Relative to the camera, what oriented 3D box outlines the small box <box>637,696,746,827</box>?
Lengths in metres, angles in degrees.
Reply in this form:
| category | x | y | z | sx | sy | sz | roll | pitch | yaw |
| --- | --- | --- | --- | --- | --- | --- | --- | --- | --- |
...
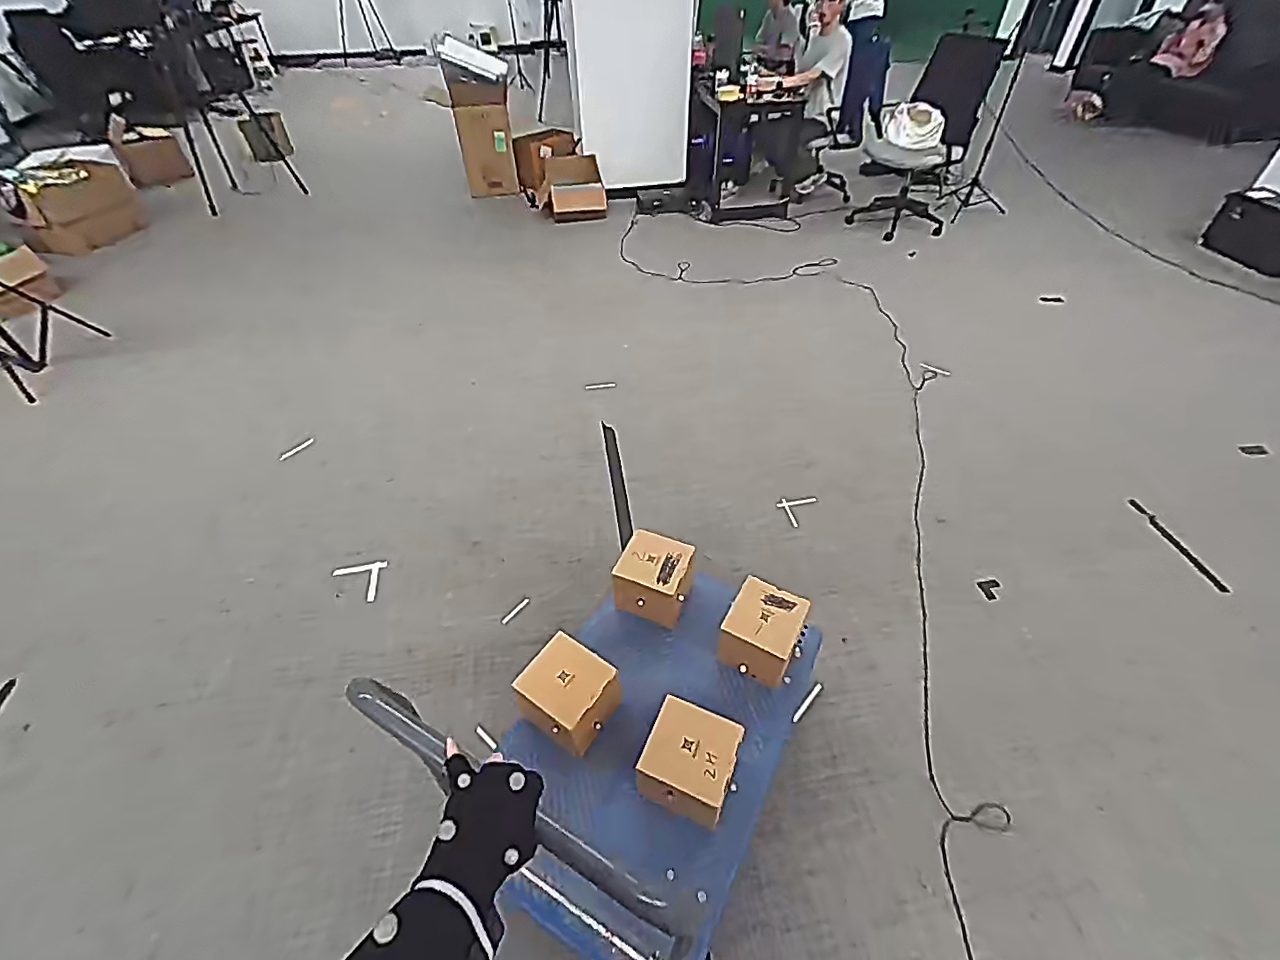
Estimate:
| category | x | y | z | sx | sy | sz | roll | pitch | yaw |
| --- | --- | --- | --- | --- | --- | --- | --- | --- | --- |
| small box | 0.108 | 0.596 | 1.140 | 0.179 | 0.176 | 0.168 | 18 | 48 | 19 |

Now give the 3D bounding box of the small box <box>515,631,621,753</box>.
| category | x | y | z | sx | sy | sz | roll | pitch | yaw |
| --- | --- | --- | --- | --- | --- | --- | --- | --- | --- |
| small box | -0.160 | 0.494 | 1.253 | 0.179 | 0.176 | 0.168 | 27 | 51 | 24 |

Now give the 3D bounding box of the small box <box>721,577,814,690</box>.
| category | x | y | z | sx | sy | sz | roll | pitch | yaw |
| --- | --- | --- | --- | --- | --- | --- | --- | --- | --- |
| small box | 0.310 | 0.383 | 1.346 | 0.168 | 0.176 | 0.179 | 22 | 51 | 23 |
